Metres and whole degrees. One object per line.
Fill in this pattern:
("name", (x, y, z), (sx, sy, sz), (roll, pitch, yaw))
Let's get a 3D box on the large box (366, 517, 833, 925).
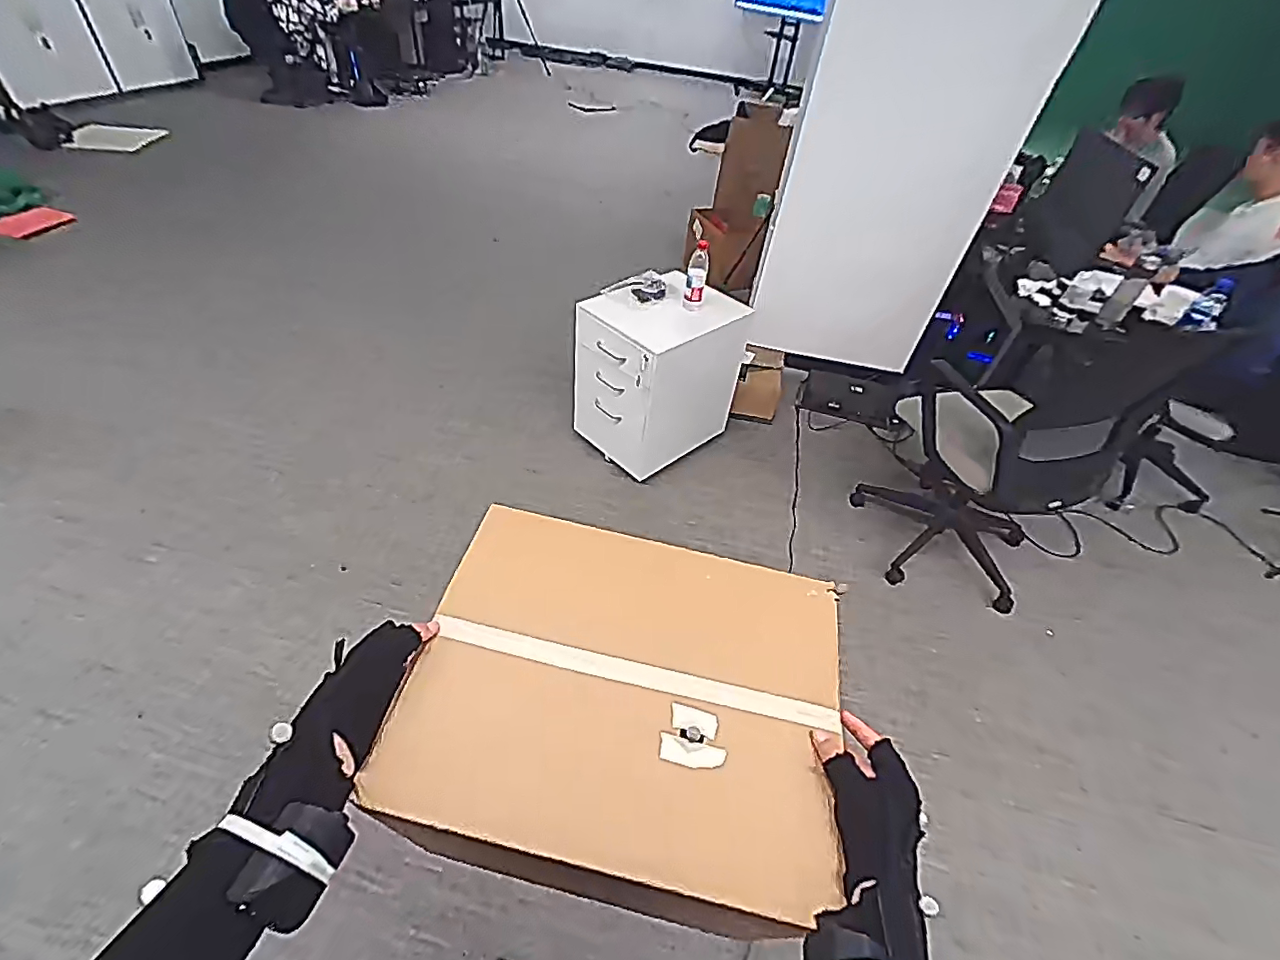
("large box", (-0.027, 0.291, 0.650), (0.408, 0.320, 0.320), (13, 50, 3))
